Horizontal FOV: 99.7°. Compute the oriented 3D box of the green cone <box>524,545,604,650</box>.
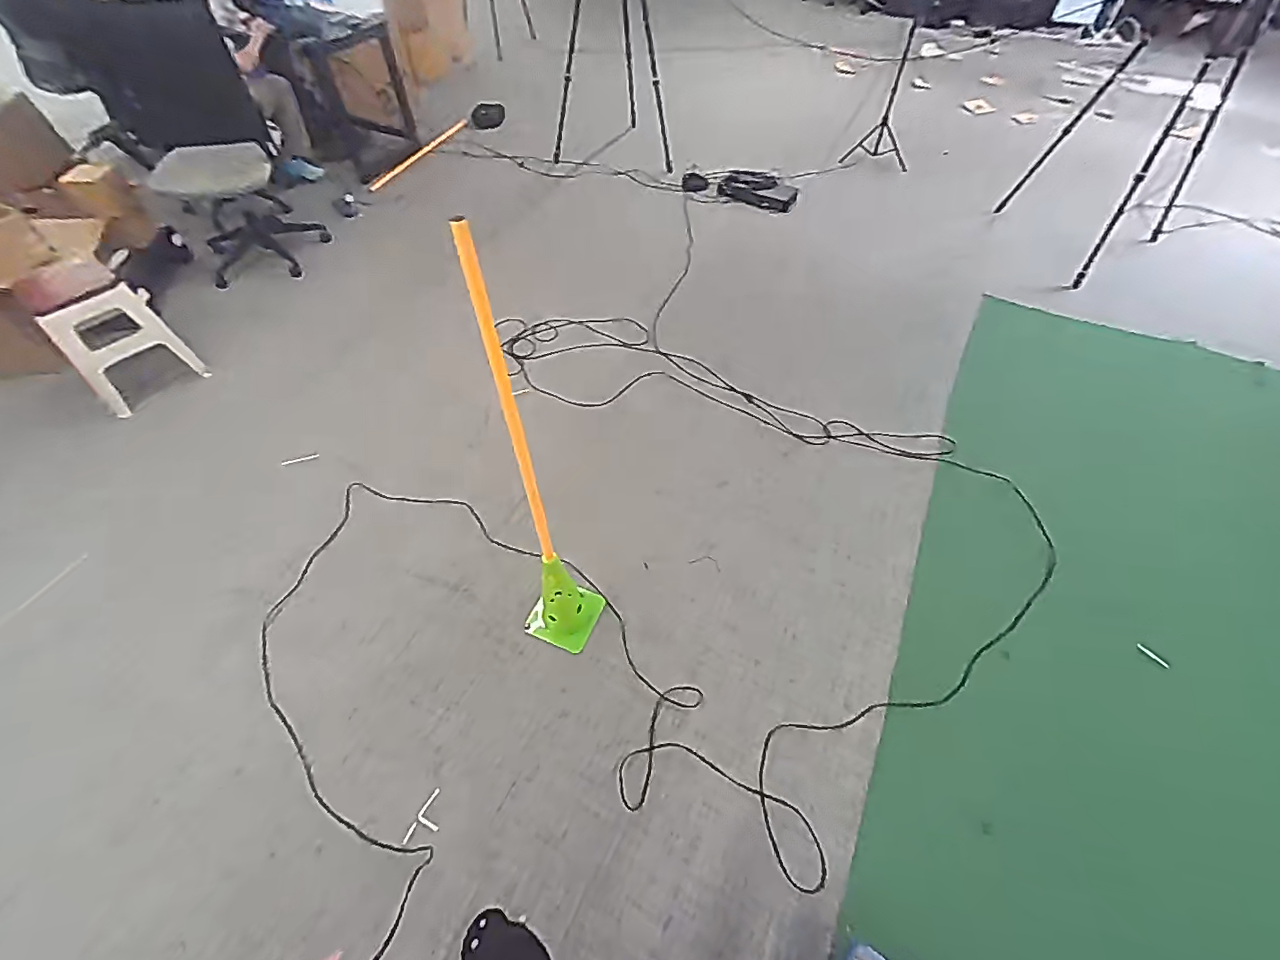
[{"bbox_3d":[-0.232,0.303,1.545,0.200,0.368,0.202,18,53,14],"label":"green cone"}]
